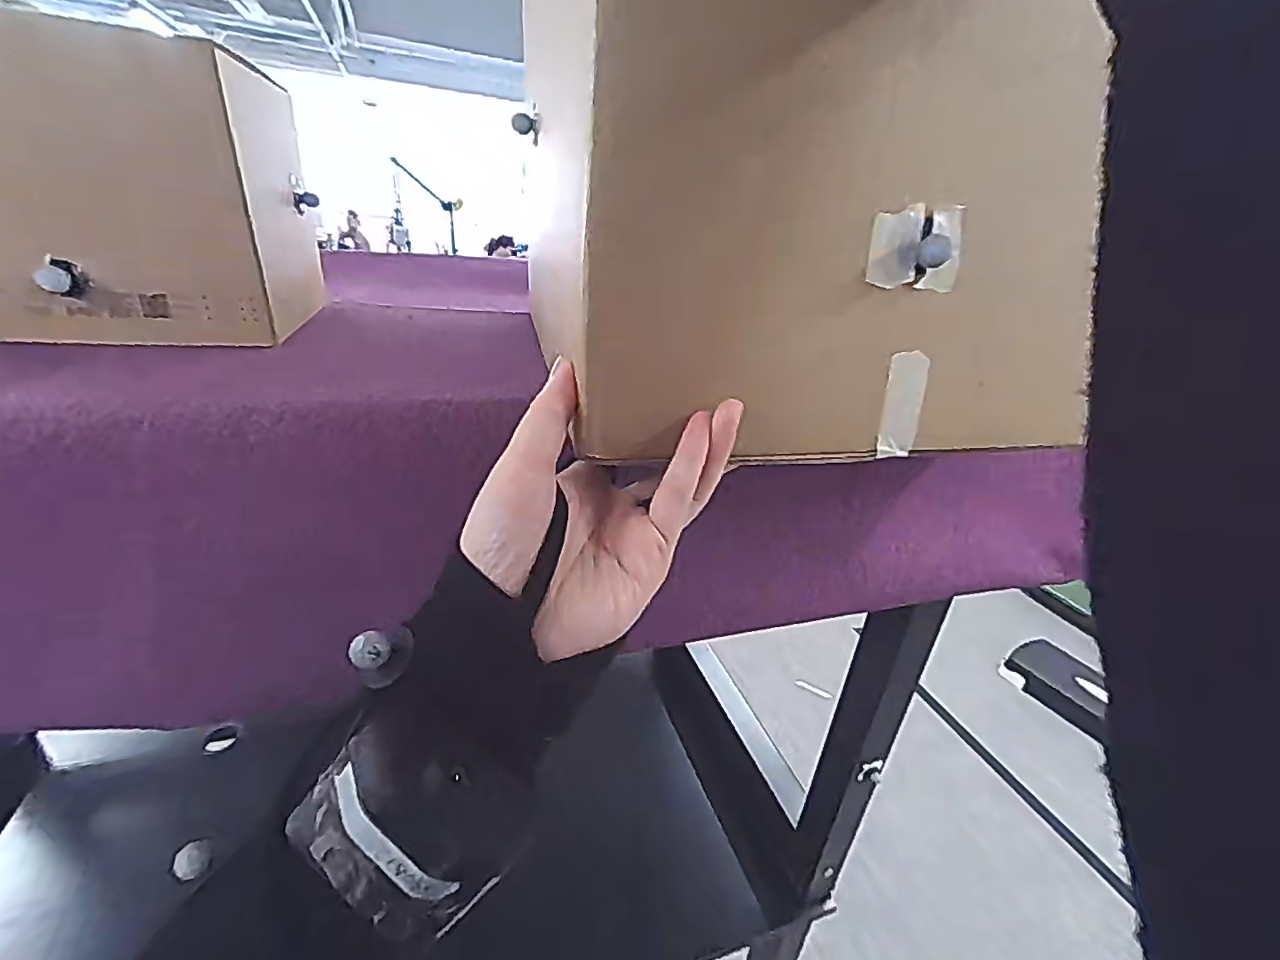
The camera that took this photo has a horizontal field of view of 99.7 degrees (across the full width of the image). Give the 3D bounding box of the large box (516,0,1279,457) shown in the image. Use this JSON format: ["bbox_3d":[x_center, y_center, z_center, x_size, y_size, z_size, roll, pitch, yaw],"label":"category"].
[{"bbox_3d":[0.086,-0.234,0.372,0.320,0.320,0.408,-2,26,-15],"label":"large box"}]

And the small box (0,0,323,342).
[{"bbox_3d":[-0.333,-0.199,0.370,0.168,0.176,0.179,-4,28,-17],"label":"small box"}]
